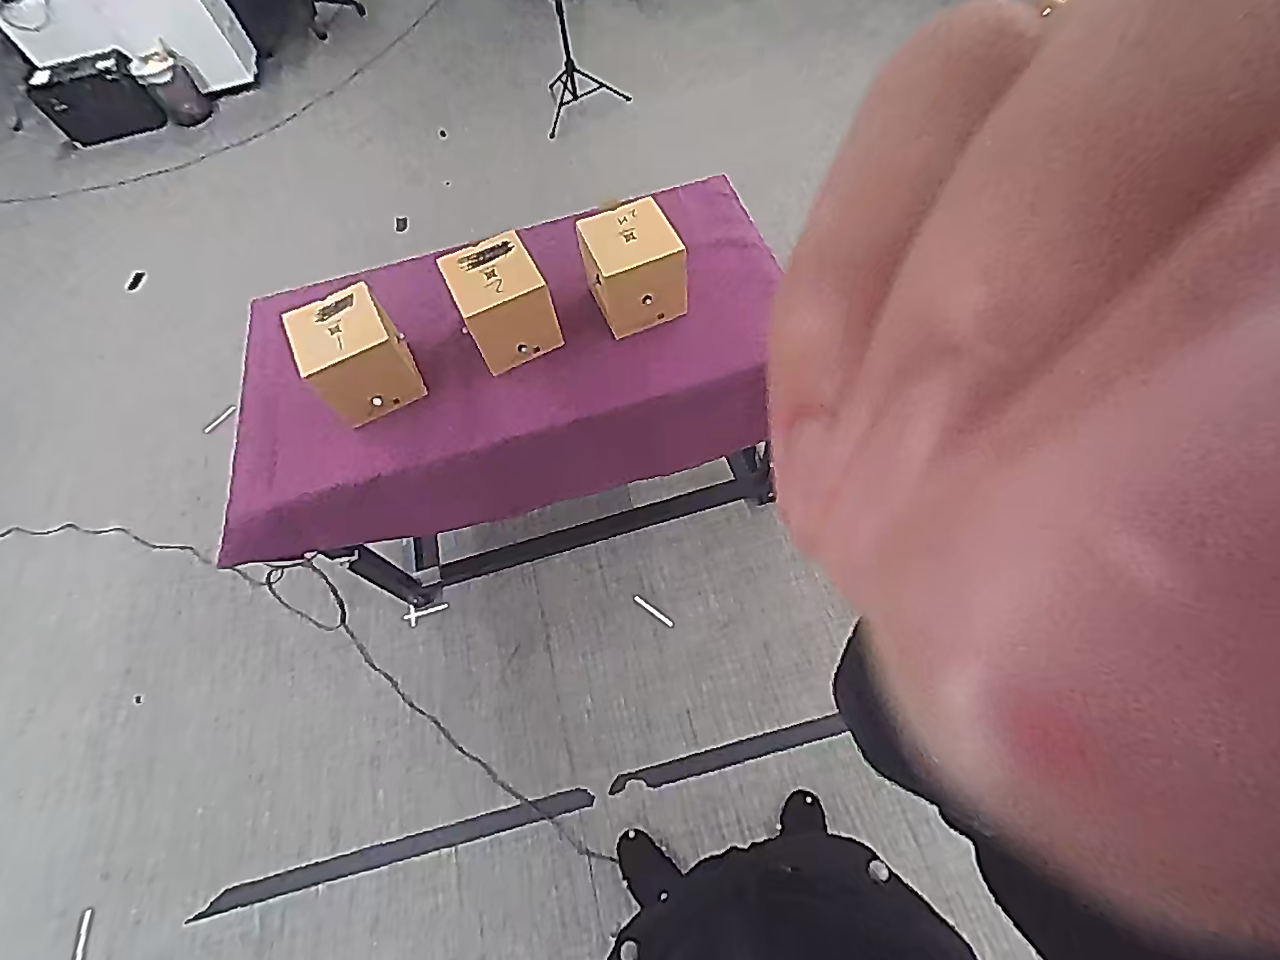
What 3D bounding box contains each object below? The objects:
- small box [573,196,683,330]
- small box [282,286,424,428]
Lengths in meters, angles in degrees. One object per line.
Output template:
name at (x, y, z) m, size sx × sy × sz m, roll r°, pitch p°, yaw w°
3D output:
small box at (-0.018, -0.431, 1.101) m, size 0.168 × 0.176 × 0.179 m, roll -22°, pitch 61°, yaw -6°
small box at (-0.556, -0.237, 1.061) m, size 0.168 × 0.176 × 0.179 m, roll -29°, pitch 63°, yaw -9°
